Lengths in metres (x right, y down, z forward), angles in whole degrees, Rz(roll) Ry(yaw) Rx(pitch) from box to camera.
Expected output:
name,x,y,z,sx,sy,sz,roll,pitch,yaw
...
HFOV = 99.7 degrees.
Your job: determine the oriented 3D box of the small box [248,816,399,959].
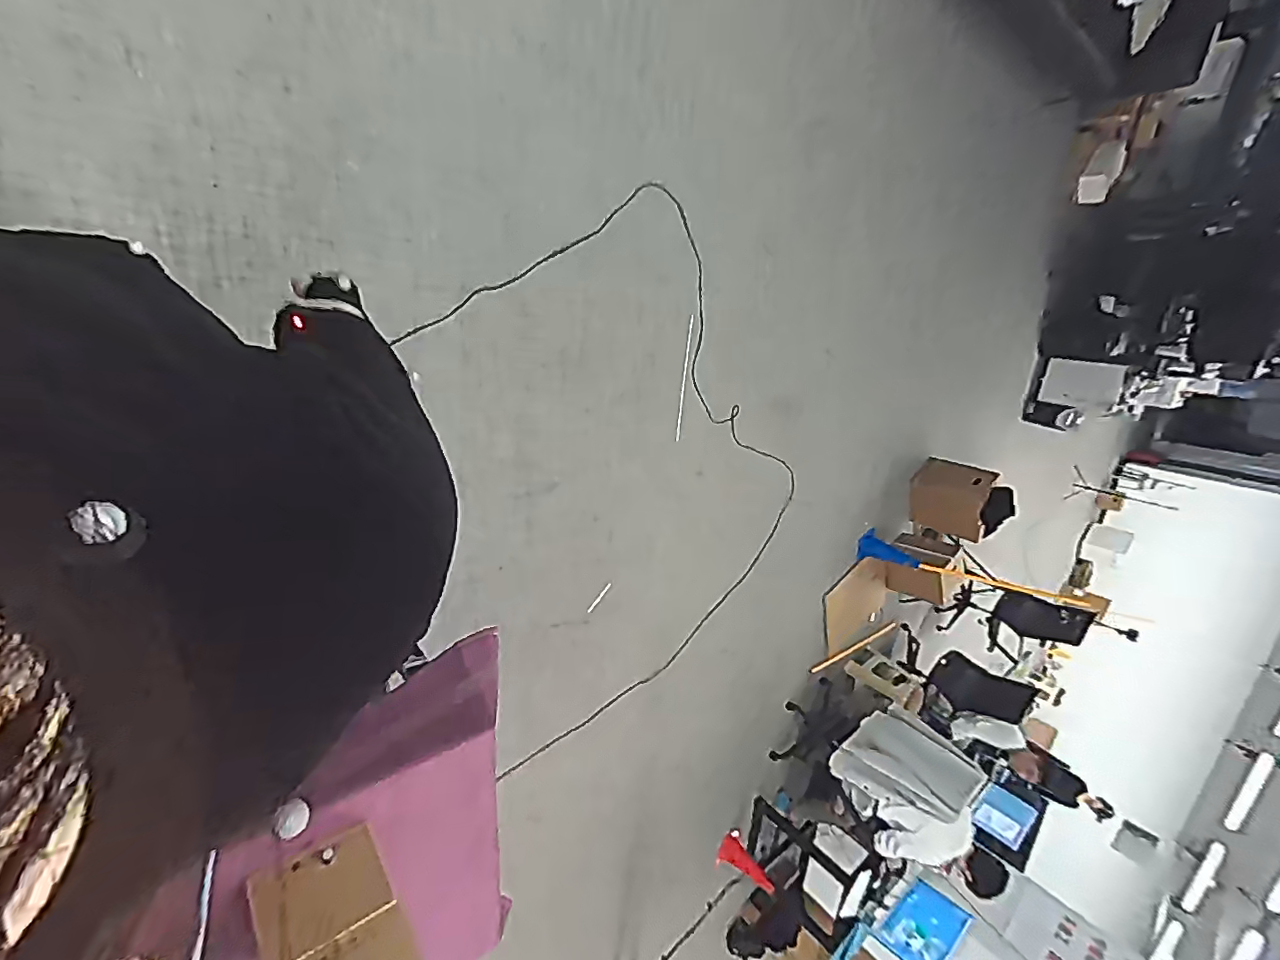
name,x,y,z,sx,sy,sz,roll,pitch,yaw
small box,-0.480,0.668,0.823,0.168,0.176,0.179,-10,113,-40
